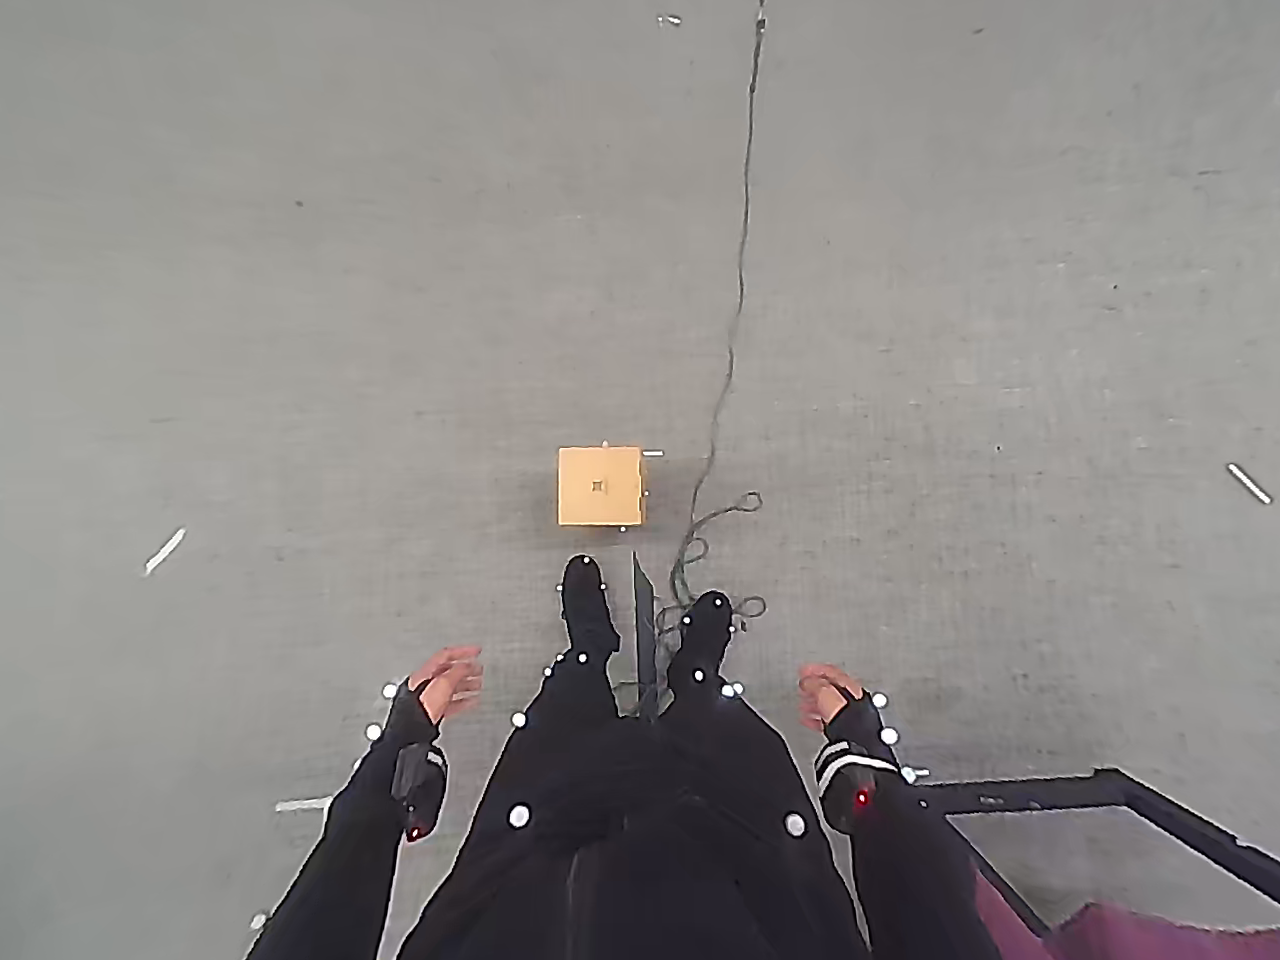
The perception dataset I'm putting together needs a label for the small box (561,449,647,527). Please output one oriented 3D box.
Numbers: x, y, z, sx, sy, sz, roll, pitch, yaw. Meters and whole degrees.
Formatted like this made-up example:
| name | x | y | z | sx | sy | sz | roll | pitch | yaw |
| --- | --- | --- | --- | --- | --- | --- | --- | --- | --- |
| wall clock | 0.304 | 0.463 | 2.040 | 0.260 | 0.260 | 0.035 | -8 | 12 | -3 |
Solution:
| name | x | y | z | sx | sy | sz | roll | pitch | yaw |
| --- | --- | --- | --- | --- | --- | --- | --- | --- | --- |
| small box | -0.076 | 0.022 | 1.216 | 0.179 | 0.176 | 0.168 | 0 | 86 | 2 |
